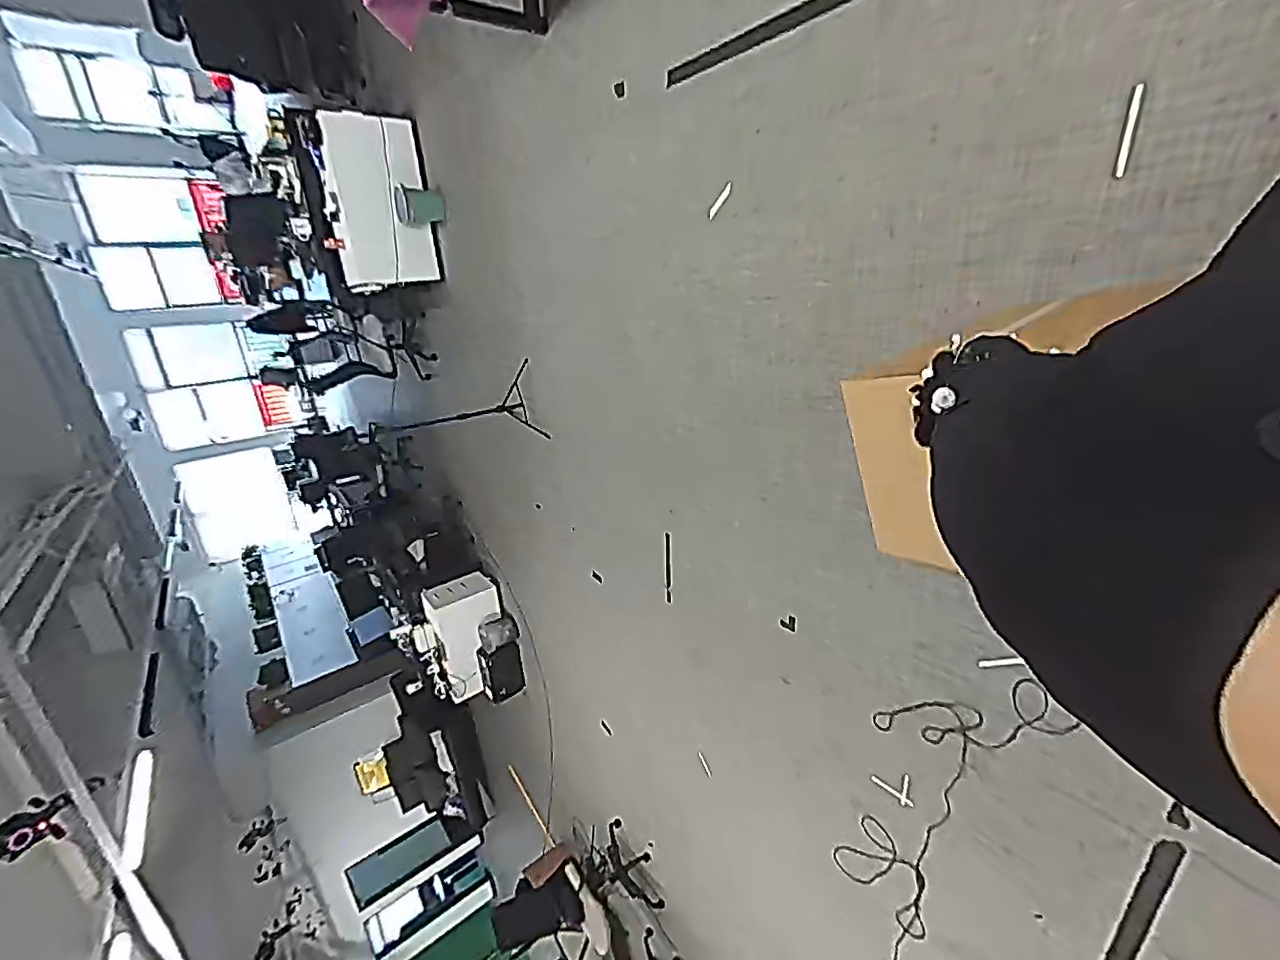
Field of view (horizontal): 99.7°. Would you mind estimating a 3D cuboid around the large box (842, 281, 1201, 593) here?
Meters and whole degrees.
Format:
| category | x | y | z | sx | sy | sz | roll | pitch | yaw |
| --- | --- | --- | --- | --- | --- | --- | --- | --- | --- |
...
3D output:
| category | x | y | z | sx | sy | sz | roll | pitch | yaw |
| --- | --- | --- | --- | --- | --- | --- | --- | --- | --- |
| large box | 0.598 | -0.080 | 0.848 | 0.320 | 0.408 | 0.320 | 6 | 118 | 61 |
